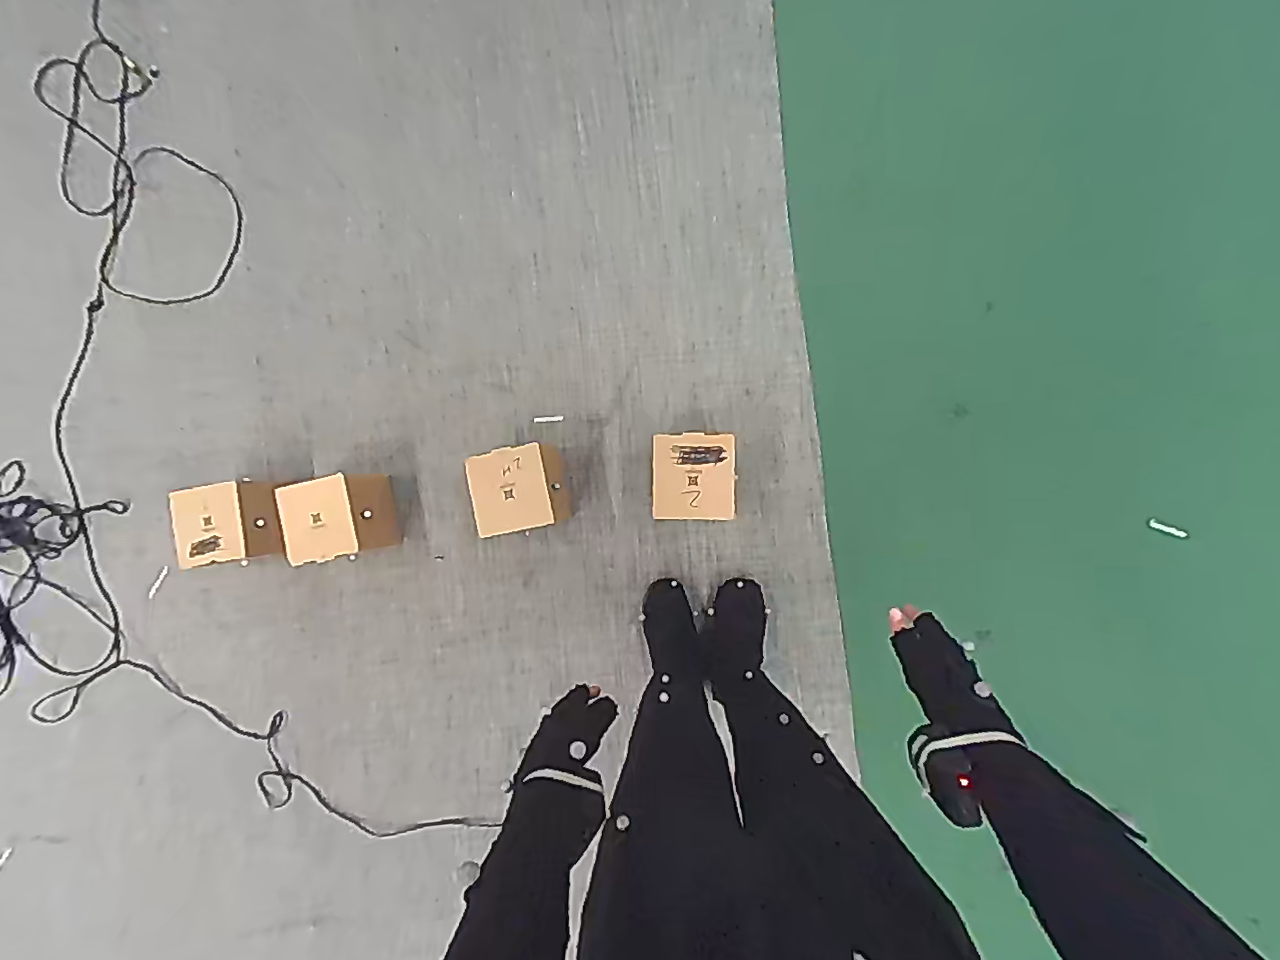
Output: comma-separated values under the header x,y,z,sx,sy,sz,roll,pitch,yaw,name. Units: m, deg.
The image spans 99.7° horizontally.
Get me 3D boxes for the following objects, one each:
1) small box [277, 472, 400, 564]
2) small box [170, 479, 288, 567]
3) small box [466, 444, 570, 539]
x,y,z,sx,sy,sz,roll,pitch,yaw,name
-0.681,0.083,1.236,0.168,0.176,0.179,-12,89,6,small box
-0.935,0.095,1.260,0.168,0.176,0.179,-9,88,6,small box
-0.261,0.023,1.195,0.168,0.176,0.179,-11,89,4,small box
